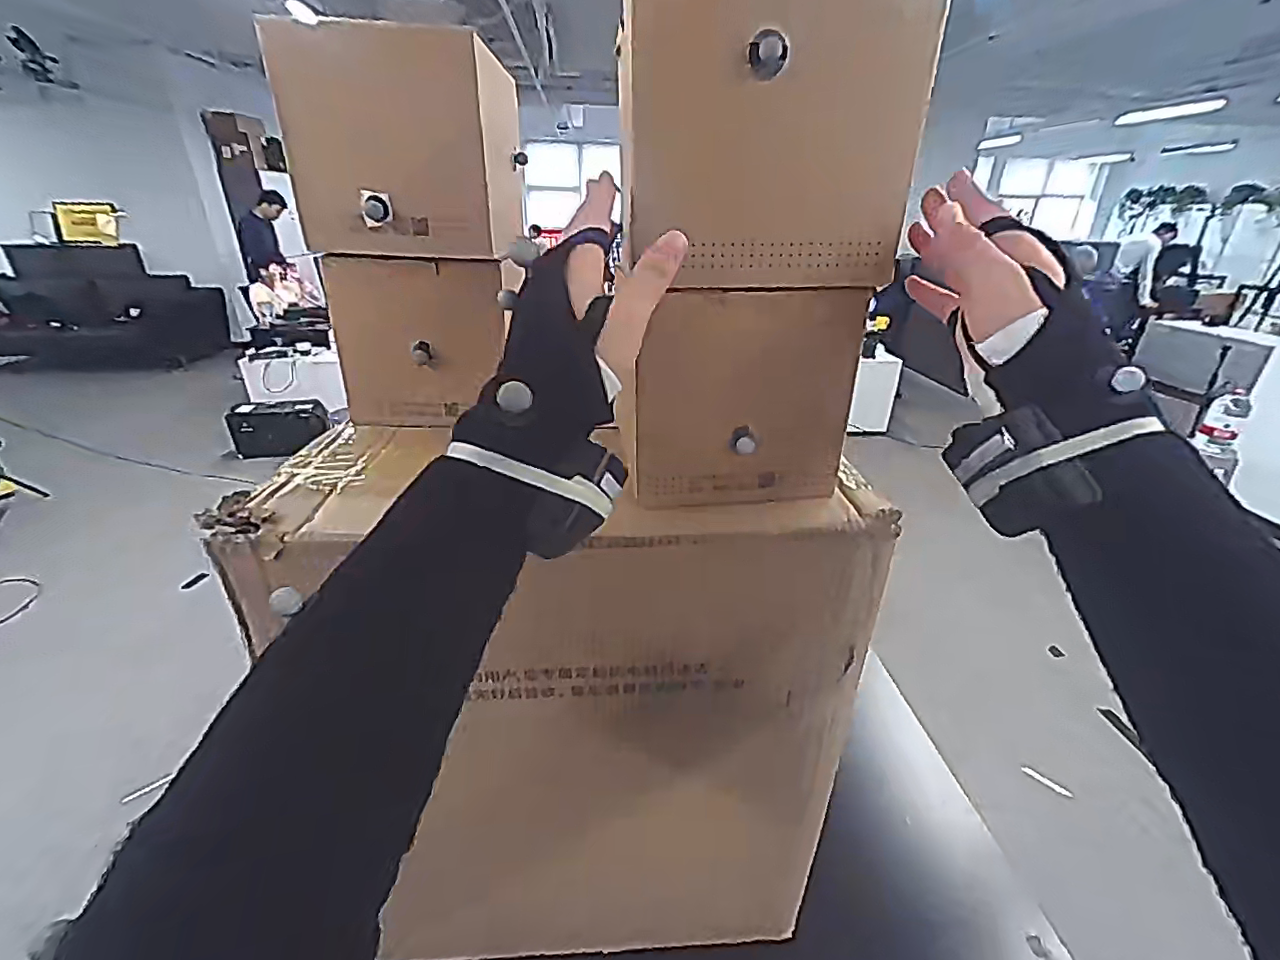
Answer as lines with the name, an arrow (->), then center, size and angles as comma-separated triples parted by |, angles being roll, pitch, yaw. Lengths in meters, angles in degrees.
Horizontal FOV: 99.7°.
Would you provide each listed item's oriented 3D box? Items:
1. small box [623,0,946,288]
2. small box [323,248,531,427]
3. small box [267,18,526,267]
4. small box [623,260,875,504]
small box -> 0.079, -0.234, 0.386 | 0.179, 0.176, 0.168 | -1, 28, -4
small box -> -0.214, -0.165, 0.603 | 0.168, 0.176, 0.179 | 0, 27, -5
small box -> -0.205, -0.304, 0.516 | 0.168, 0.176, 0.179 | 0, 27, -2
small box -> 0.071, -0.093, 0.471 | 0.168, 0.176, 0.179 | -4, 28, -6
